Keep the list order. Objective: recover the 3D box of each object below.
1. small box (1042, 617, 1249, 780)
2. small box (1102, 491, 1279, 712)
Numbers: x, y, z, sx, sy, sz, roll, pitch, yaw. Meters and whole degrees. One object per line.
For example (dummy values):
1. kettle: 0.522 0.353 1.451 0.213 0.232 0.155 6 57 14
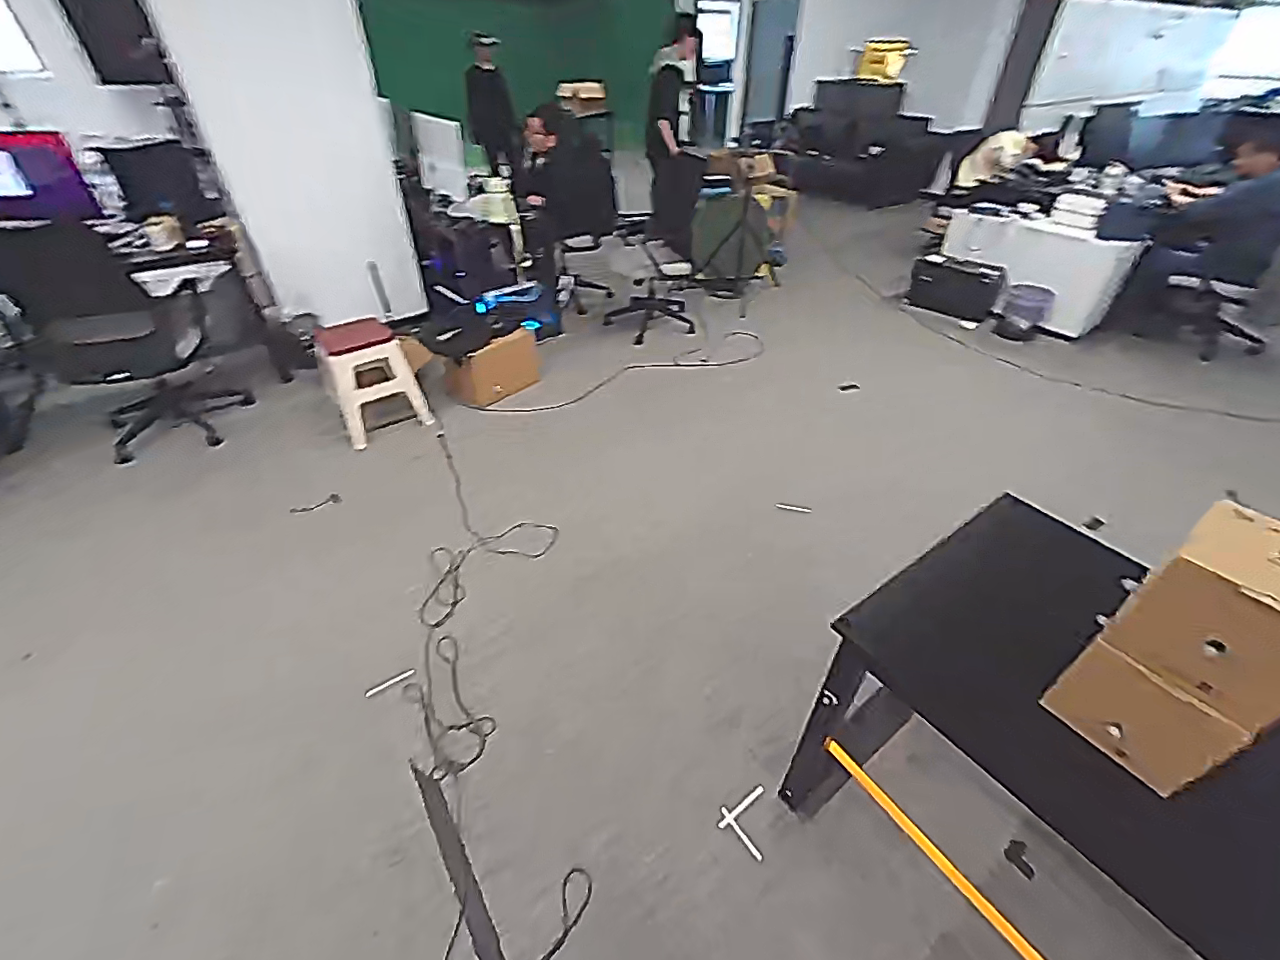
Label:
1. small box: 0.728 0.282 0.775 0.179 0.176 0.168 -24 44 -26
2. small box: 0.734 0.150 0.678 0.179 0.176 0.168 -26 46 -28
